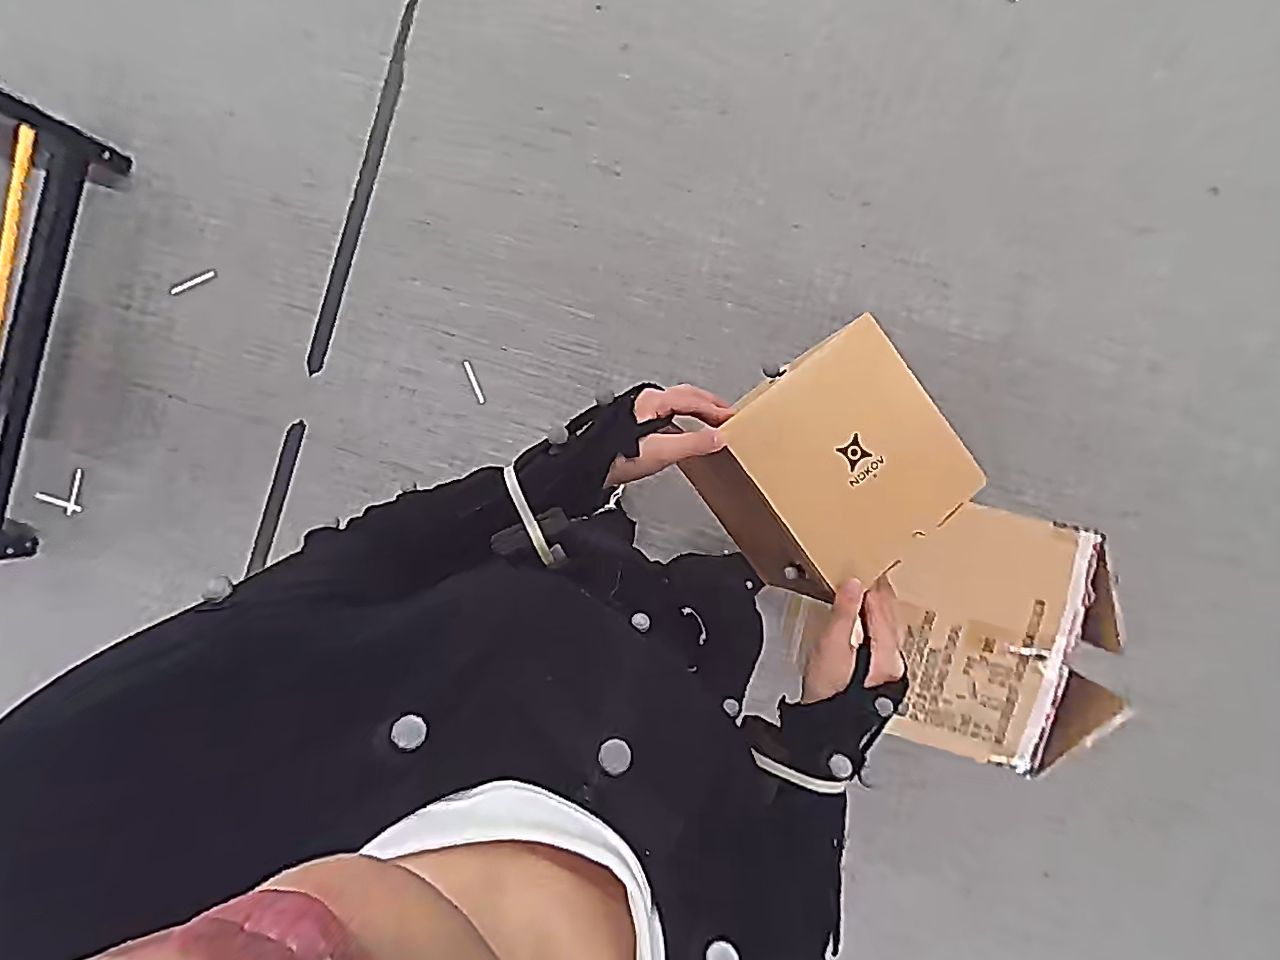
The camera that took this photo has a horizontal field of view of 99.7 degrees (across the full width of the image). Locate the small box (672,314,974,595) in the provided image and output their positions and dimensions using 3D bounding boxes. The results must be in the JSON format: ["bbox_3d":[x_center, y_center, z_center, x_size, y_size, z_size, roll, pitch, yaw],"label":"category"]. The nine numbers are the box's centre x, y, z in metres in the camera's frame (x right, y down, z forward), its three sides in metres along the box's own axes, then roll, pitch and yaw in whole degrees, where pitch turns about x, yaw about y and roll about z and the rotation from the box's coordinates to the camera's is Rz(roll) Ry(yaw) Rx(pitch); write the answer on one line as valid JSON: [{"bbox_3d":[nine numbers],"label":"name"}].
[{"bbox_3d":[0.152,-0.016,0.512,0.168,0.176,0.179,-37,93,-10],"label":"small box"}]
